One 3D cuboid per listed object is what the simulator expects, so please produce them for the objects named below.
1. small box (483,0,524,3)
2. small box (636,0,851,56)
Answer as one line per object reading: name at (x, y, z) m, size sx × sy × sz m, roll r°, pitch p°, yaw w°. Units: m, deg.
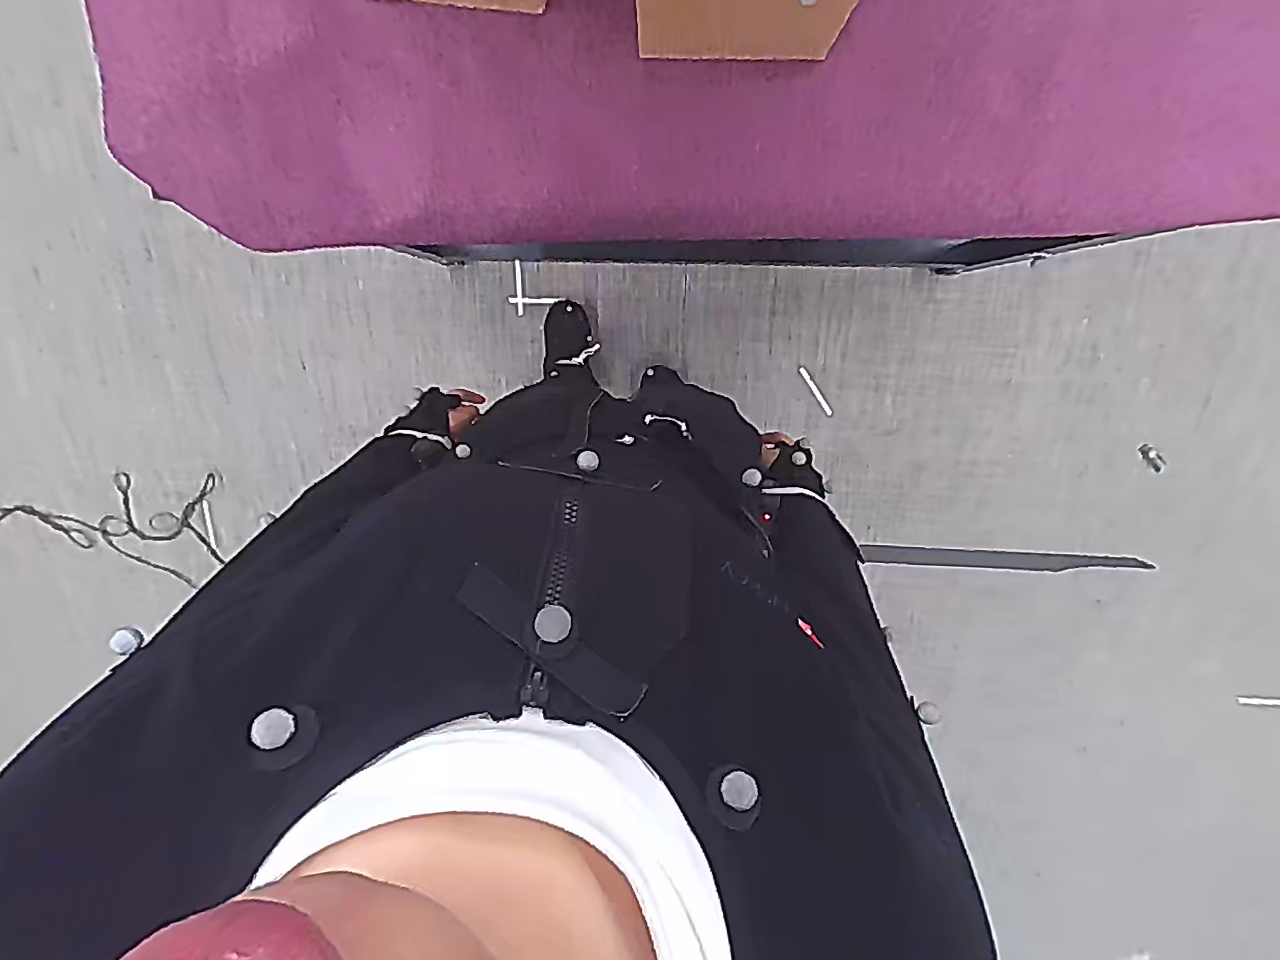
small box at (-0.168, -0.502, 0.401) m, size 0.179 × 0.176 × 0.168 m, roll 5°, pitch 105°, yaw -1°
small box at (0.087, -0.456, 0.408) m, size 0.179 × 0.176 × 0.168 m, roll 2°, pitch 104°, yaw 1°
